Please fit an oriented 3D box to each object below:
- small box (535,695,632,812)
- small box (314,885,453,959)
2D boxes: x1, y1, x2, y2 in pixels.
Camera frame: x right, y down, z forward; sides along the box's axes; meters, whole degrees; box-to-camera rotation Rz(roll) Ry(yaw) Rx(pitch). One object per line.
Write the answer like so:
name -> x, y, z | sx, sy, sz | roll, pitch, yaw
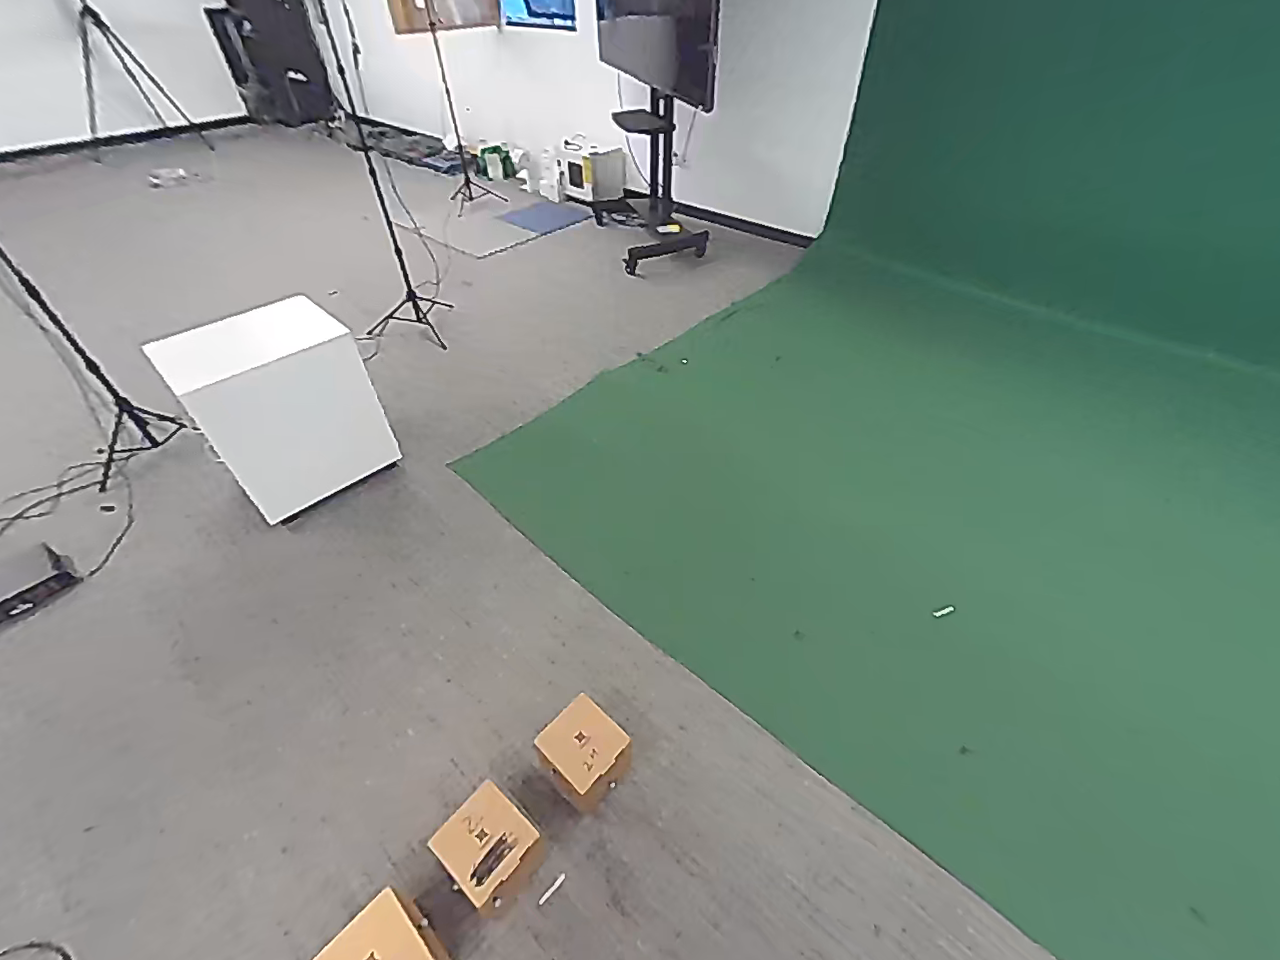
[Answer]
small box -> -0.137, 0.682, 1.343 | 0.179, 0.176, 0.168 | 33, 53, 29
small box -> -0.491, 0.952, 1.058 | 0.179, 0.176, 0.168 | 32, 53, 29
